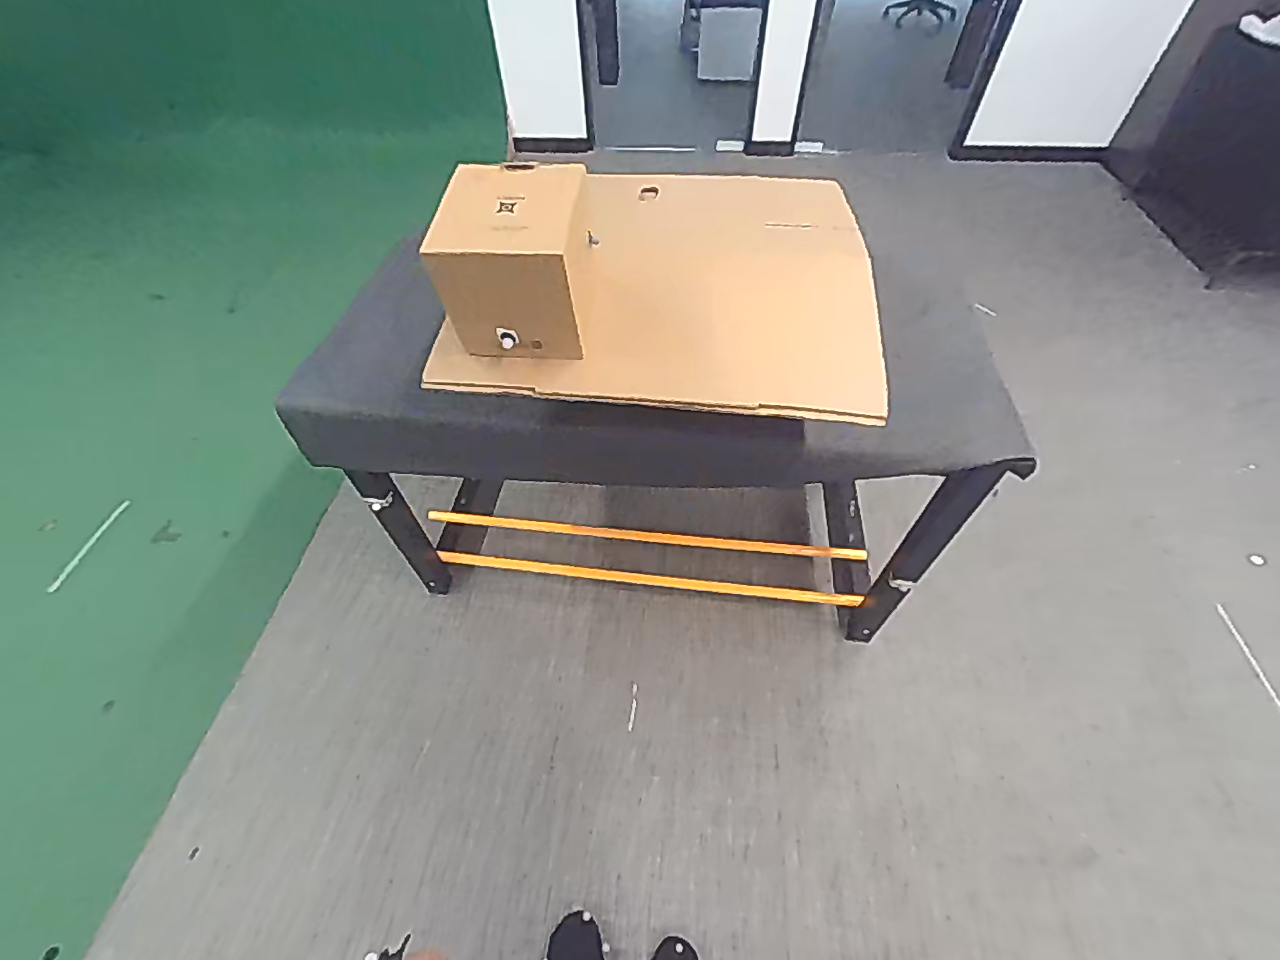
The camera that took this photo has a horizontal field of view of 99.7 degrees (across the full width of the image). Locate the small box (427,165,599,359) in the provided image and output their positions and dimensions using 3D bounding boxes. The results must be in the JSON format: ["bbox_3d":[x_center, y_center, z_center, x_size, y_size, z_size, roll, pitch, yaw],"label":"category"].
[{"bbox_3d":[-0.149,-0.282,0.709,0.168,0.176,0.179,2,60,5],"label":"small box"}]
